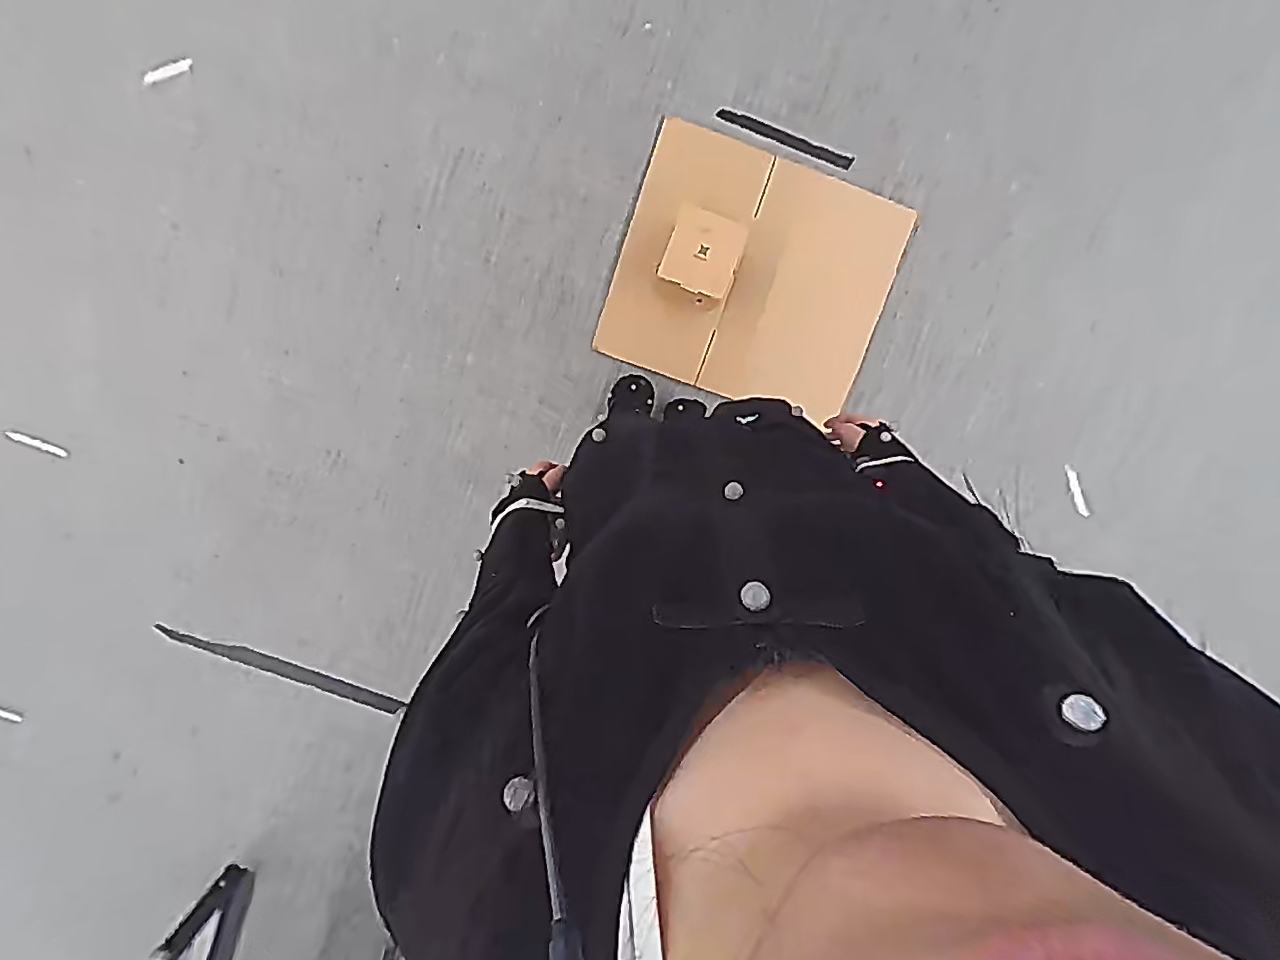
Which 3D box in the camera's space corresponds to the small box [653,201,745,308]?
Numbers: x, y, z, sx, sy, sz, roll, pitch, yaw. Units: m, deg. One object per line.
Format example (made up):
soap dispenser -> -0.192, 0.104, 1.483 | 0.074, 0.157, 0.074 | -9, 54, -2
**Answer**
small box -> 0.135, -0.539, 1.321 | 0.168, 0.176, 0.179 | 20, 97, -6
